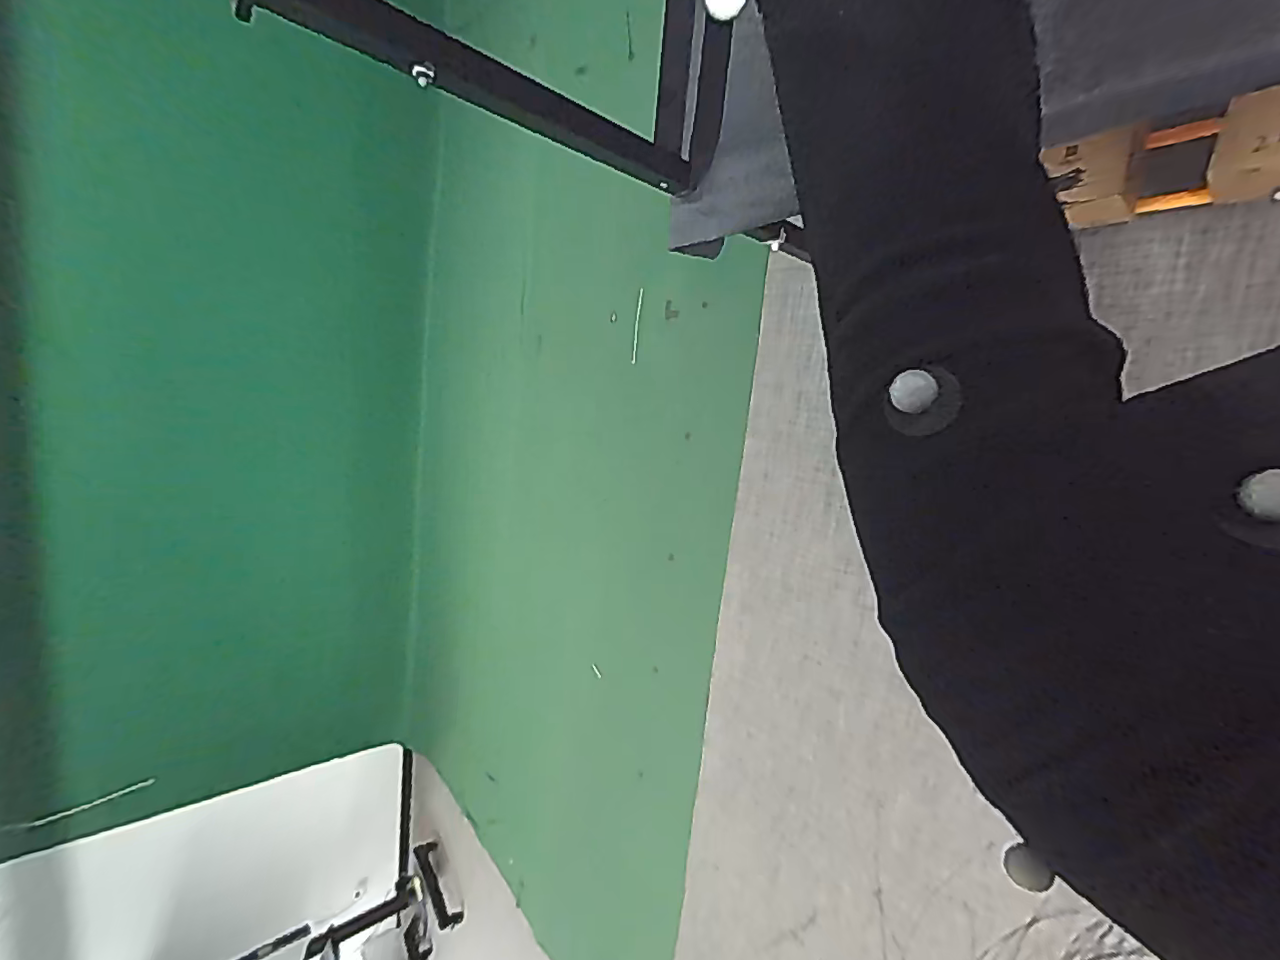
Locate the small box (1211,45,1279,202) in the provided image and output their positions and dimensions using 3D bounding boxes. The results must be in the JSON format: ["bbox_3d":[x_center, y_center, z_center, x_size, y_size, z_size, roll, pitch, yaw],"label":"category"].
[{"bbox_3d":[1.049,-0.564,0.851,0.168,0.176,0.179,22,109,48],"label":"small box"}]
